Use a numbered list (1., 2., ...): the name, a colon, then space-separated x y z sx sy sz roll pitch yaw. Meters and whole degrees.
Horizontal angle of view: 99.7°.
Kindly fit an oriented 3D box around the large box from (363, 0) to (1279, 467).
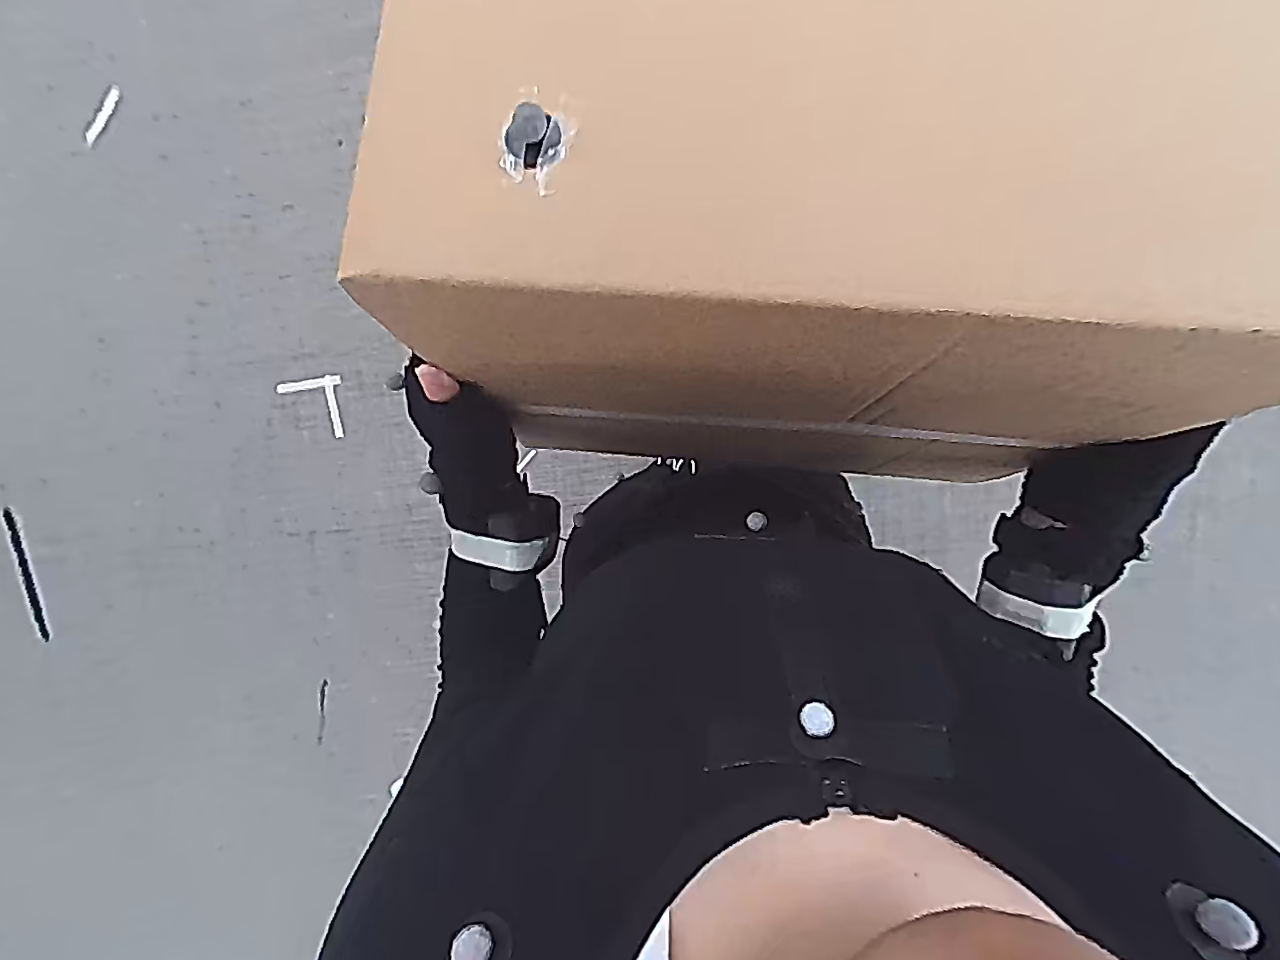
1. large box: 0.098 -0.197 0.375 0.408 0.320 0.320 4 82 2
